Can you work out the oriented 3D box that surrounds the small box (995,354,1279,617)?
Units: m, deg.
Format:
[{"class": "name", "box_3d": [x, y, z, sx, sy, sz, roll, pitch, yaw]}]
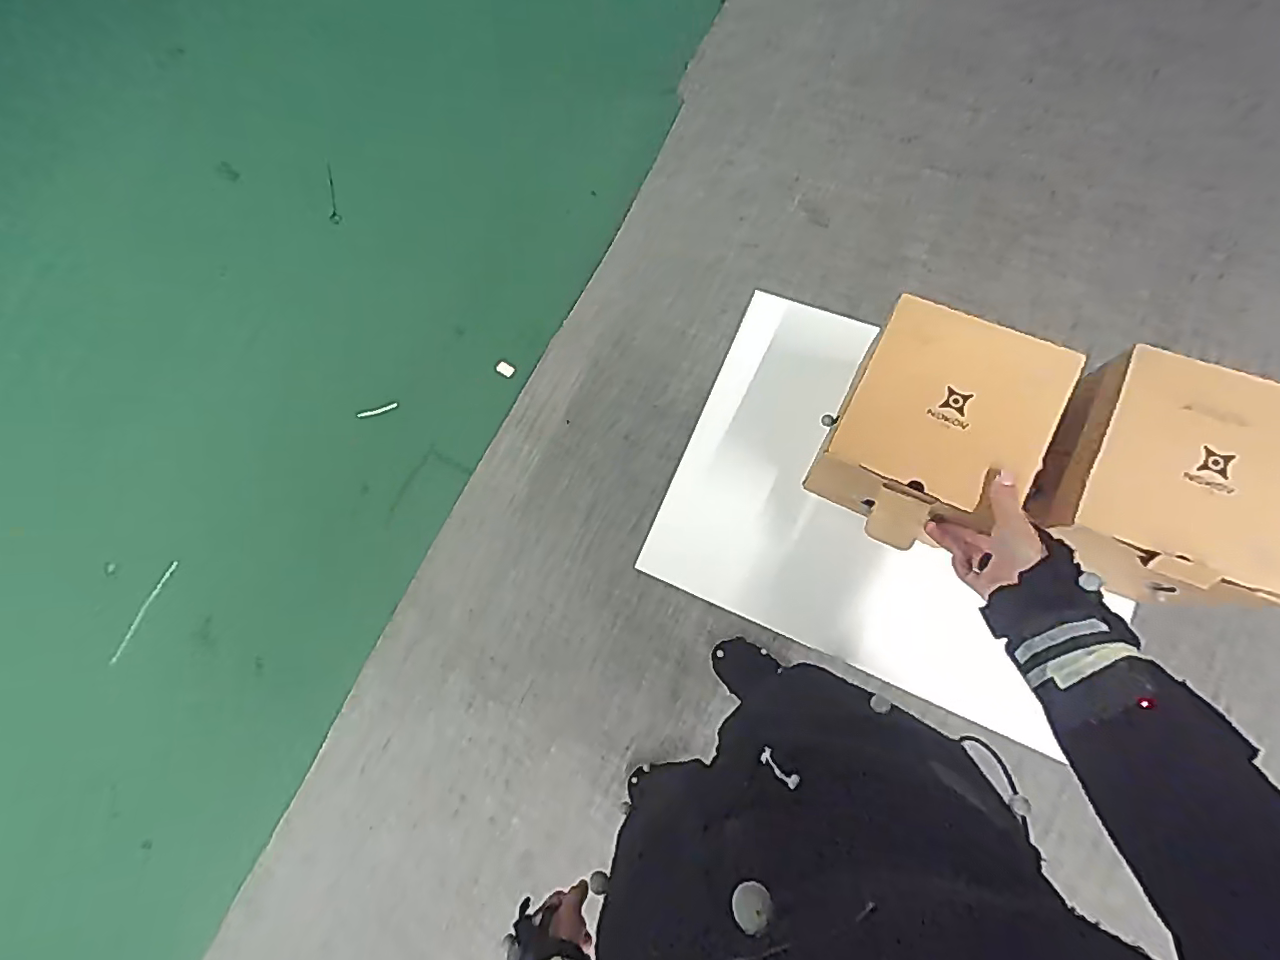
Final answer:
[{"class": "small box", "box_3d": [0.476, 0.016, 0.513, 0.168, 0.176, 0.179, 23, 82, 13]}]
